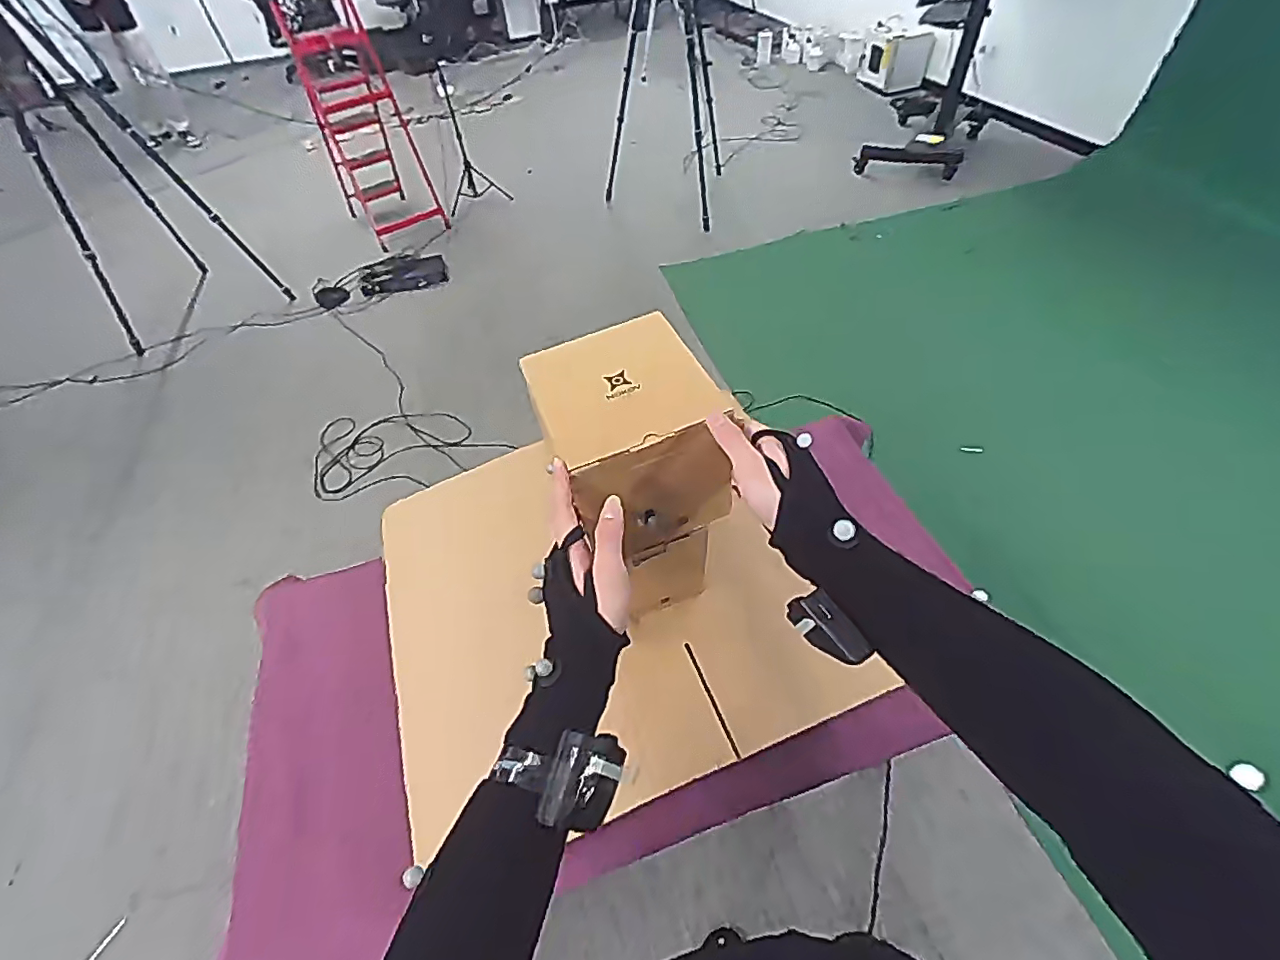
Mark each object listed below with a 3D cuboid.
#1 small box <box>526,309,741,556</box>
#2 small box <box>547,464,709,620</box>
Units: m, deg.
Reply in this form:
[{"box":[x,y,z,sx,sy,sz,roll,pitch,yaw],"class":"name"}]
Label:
[{"box":[-0.007,-0.048,0.587,0.168,0.176,0.179,-21,54,-9],"class":"small box"},{"box":[-0.016,0.072,0.751,0.168,0.176,0.179,-18,51,-12],"class":"small box"}]
